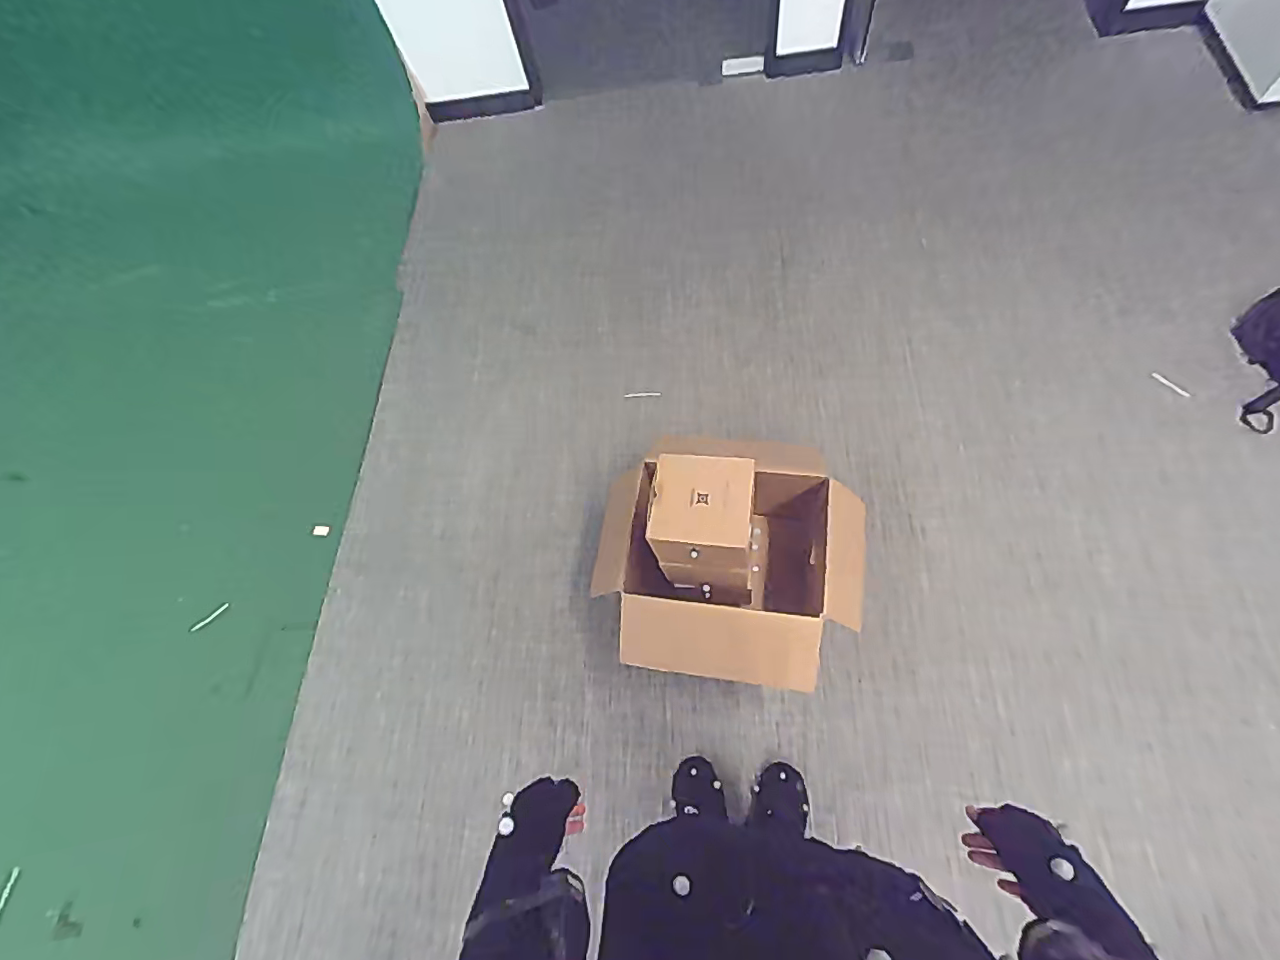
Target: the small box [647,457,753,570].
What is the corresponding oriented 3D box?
[{"bbox_3d":[0.120,0.068,1.021,0.179,0.176,0.168,4,69,12],"label":"small box"}]
